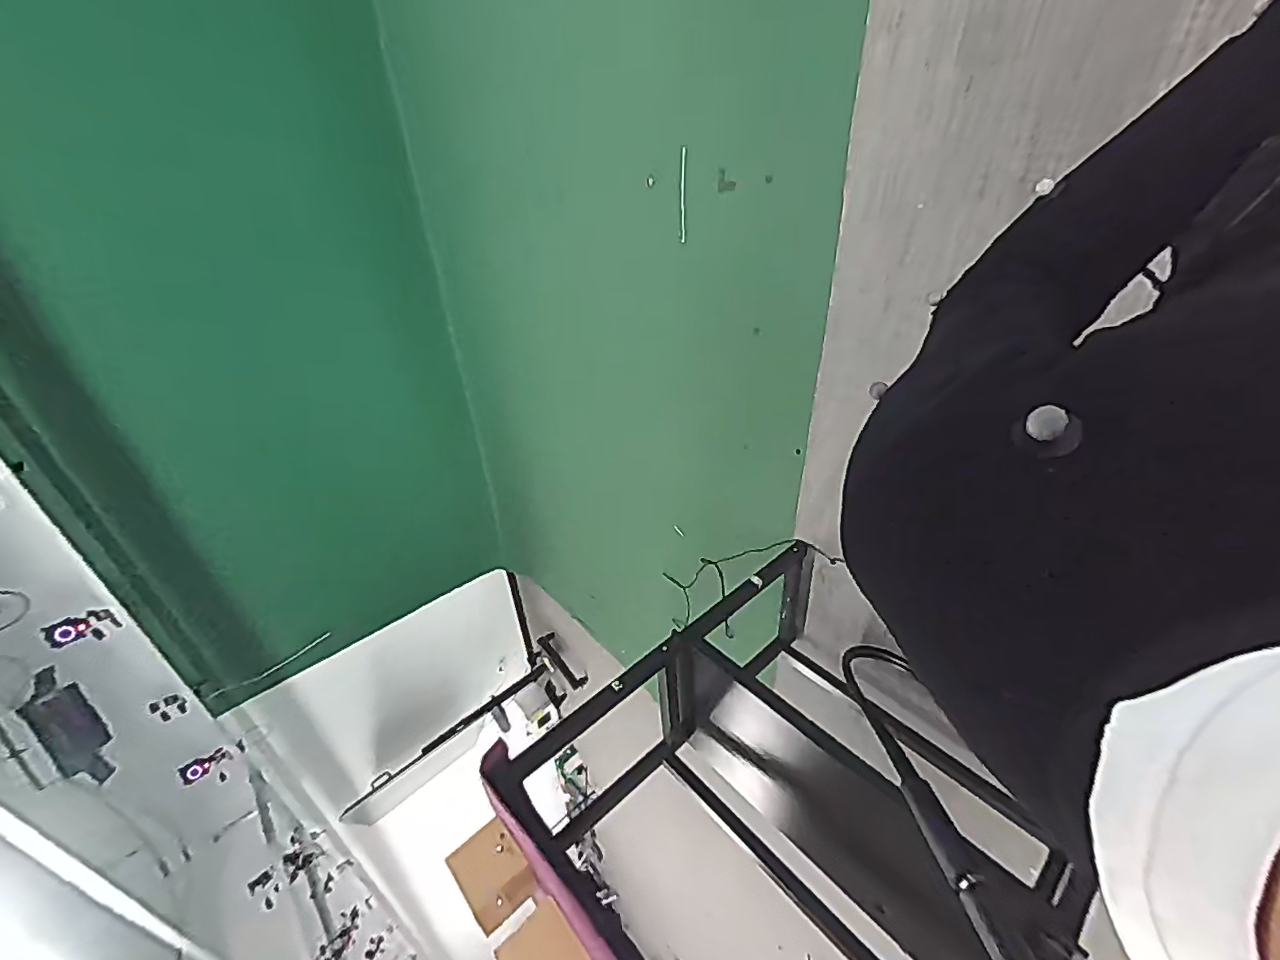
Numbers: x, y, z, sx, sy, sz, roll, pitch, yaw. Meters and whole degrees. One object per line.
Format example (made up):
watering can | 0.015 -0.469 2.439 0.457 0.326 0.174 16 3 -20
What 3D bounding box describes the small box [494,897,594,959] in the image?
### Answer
small box | -0.211 1.142 1.266 0.179 0.176 0.168 30 136 41
